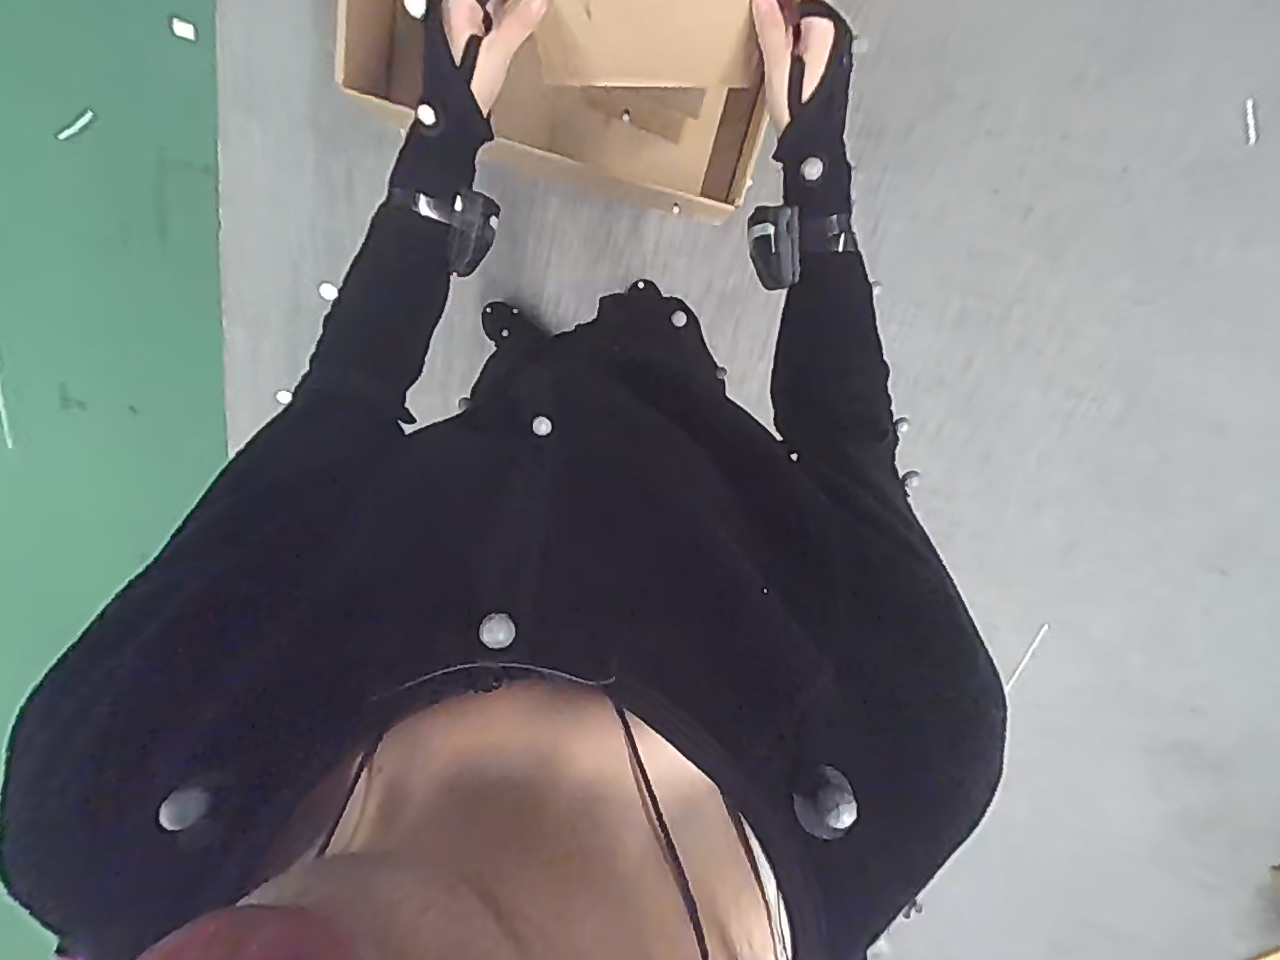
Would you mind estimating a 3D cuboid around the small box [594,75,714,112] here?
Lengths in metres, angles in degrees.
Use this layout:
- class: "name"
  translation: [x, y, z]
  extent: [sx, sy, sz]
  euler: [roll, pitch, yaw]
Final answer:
- class: "small box"
  translation: [0.023, -0.563, 0.628]
  extent: [0.179, 0.176, 0.168]
  euler: [18, 111, -4]

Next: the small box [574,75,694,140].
- class: "small box"
  translation: [0.019, -0.626, 0.779]
  extent: [0.168, 0.176, 0.179]
  euler: [20, 110, -4]

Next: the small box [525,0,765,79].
- class: "small box"
  translation: [0.008, -0.432, 0.394]
  extent: [0.179, 0.168, 0.176]
  euler: [5, 65, 5]
